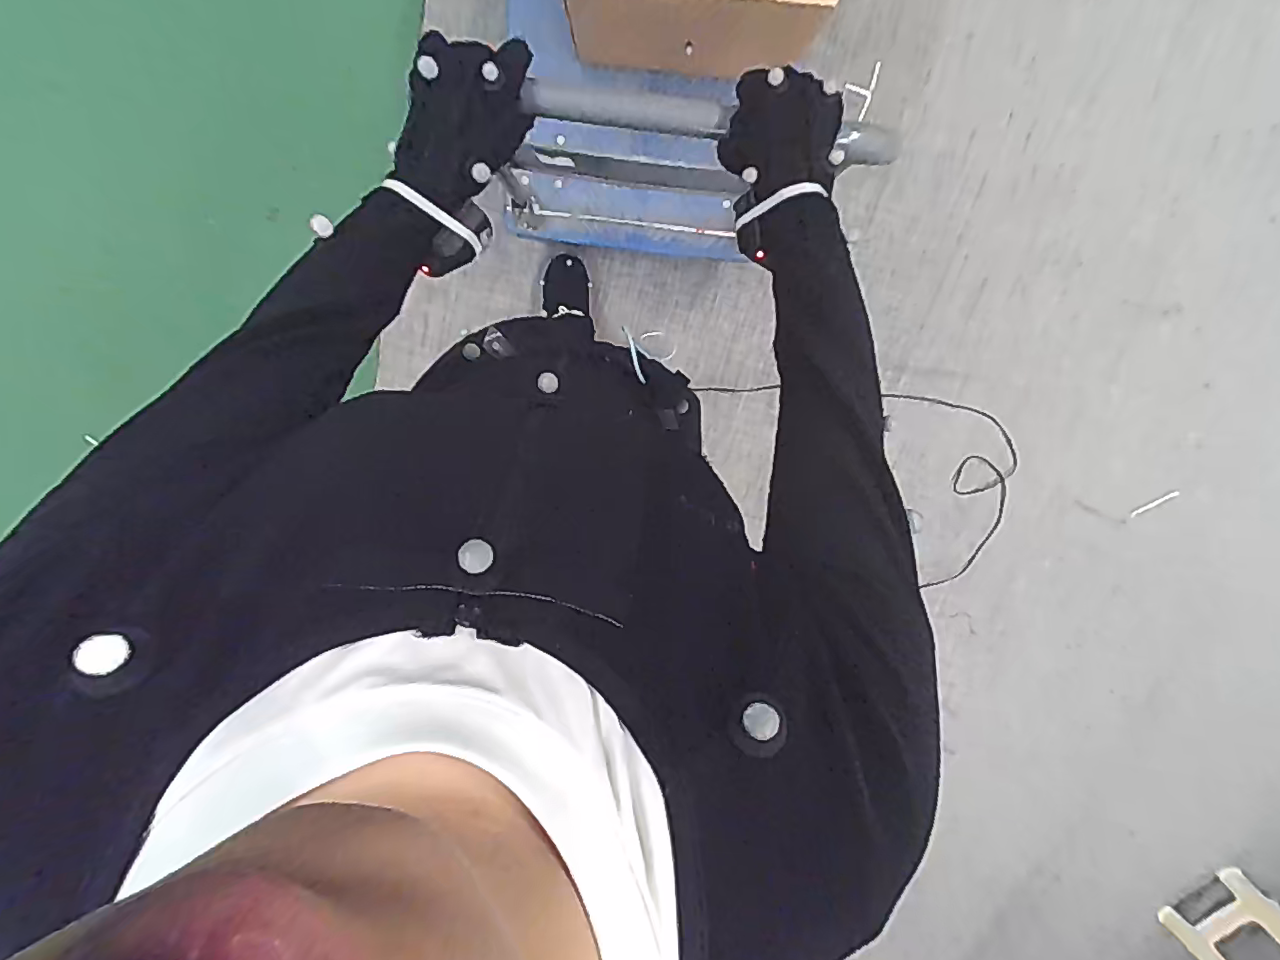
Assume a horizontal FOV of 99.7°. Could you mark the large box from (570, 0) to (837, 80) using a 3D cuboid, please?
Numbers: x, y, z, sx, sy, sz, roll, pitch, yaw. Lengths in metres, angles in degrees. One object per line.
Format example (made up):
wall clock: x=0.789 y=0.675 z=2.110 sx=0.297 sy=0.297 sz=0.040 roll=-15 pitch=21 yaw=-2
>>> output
large box: x=0.104 y=-0.896 z=0.879 sx=0.408 sy=0.320 sz=0.320 roll=5 pitch=108 yaw=-1
